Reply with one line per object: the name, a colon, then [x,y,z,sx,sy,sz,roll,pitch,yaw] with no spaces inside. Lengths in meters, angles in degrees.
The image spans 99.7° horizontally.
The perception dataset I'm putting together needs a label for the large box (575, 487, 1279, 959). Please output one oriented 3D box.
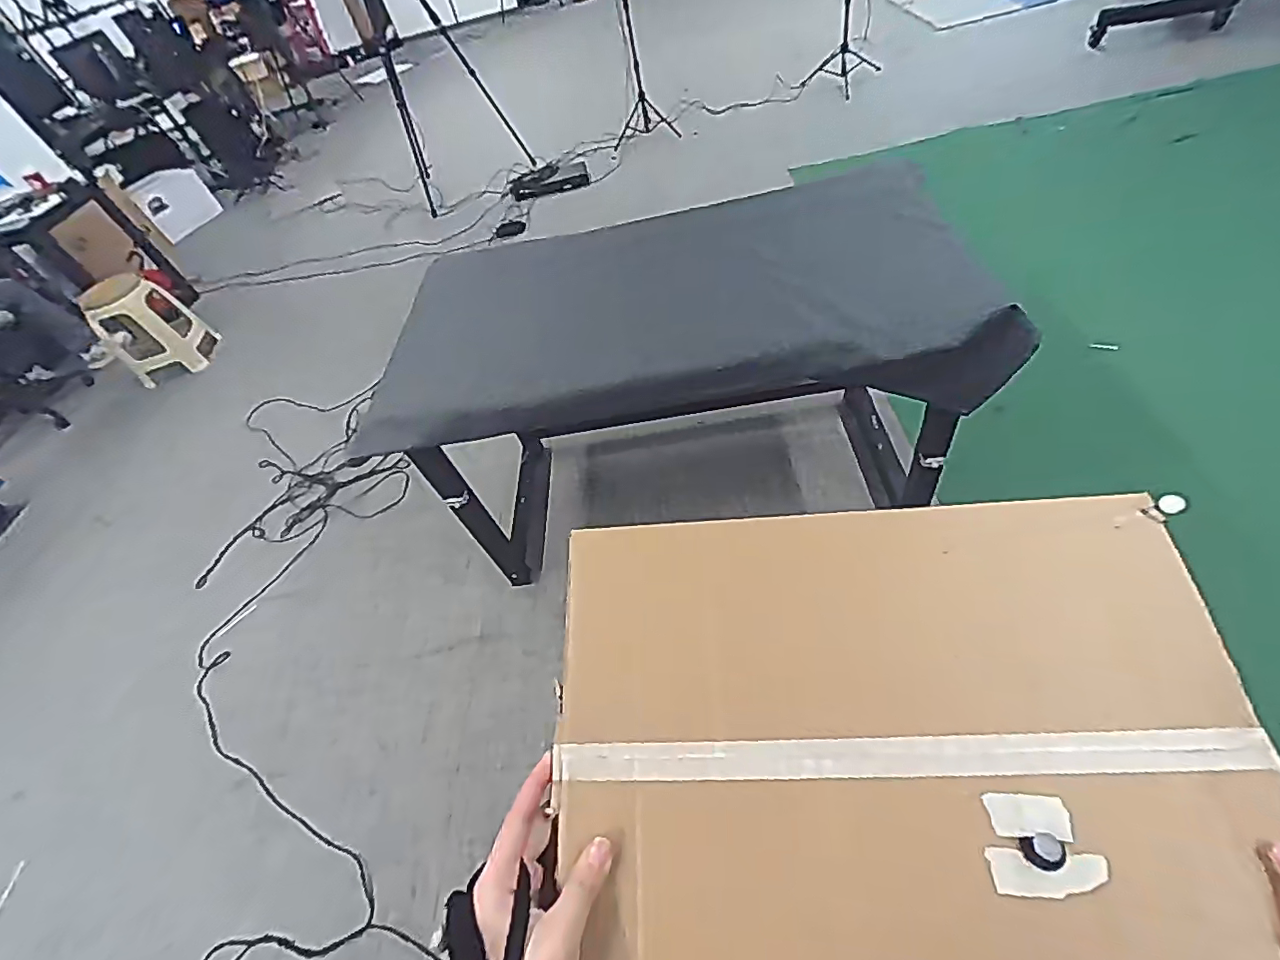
large box: [0.171,0.223,0.472,0.408,0.320,0.320,-4,65,6]
